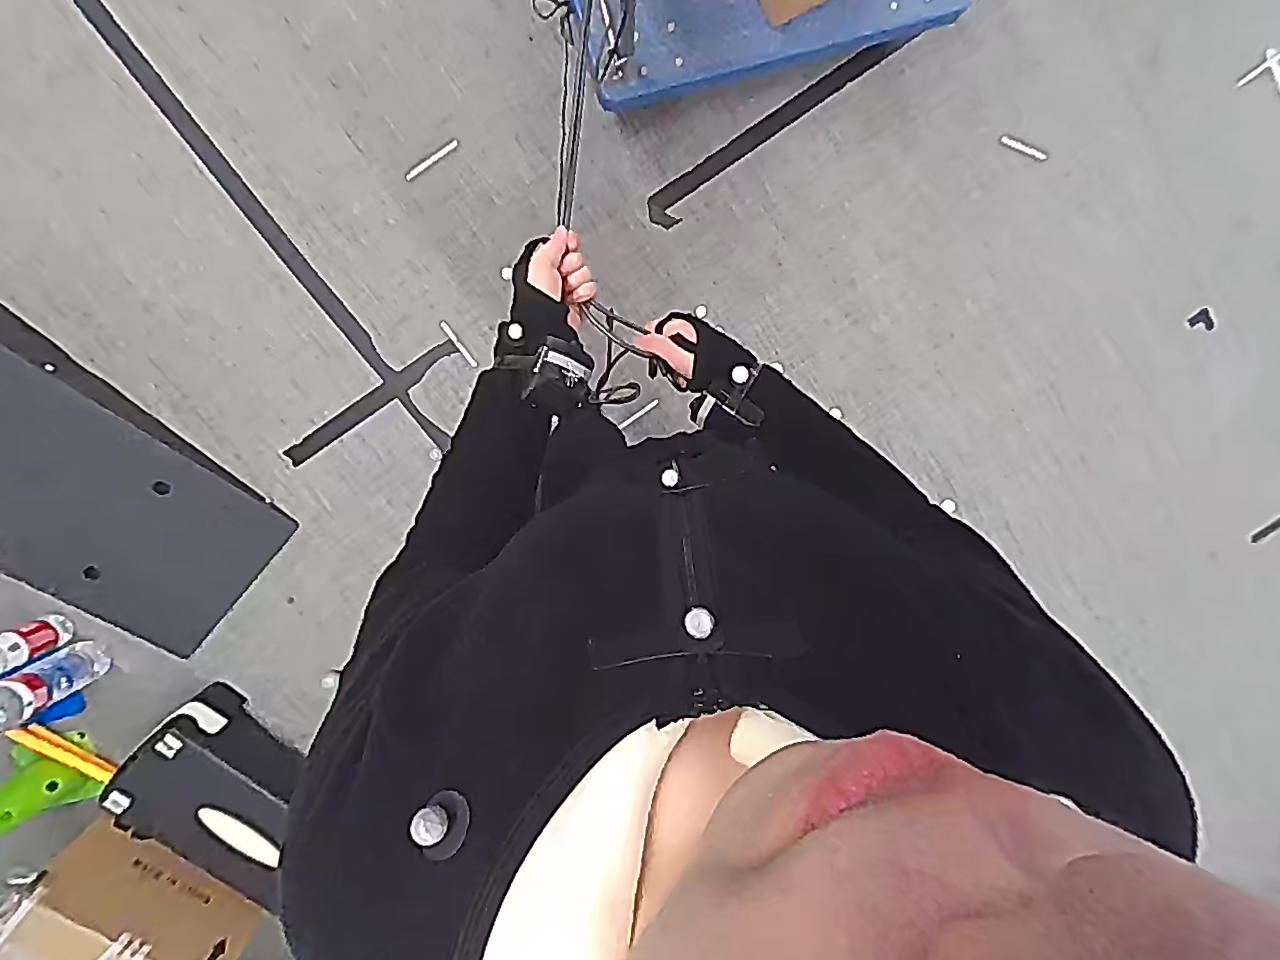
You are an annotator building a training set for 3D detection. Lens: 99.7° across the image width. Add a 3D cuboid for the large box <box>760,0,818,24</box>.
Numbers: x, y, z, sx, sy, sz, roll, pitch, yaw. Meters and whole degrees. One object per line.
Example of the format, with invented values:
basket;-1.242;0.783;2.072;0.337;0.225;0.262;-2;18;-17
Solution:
large box;0.333;-1.209;1.000;0.320;0.320;0.408;-30;101;1
